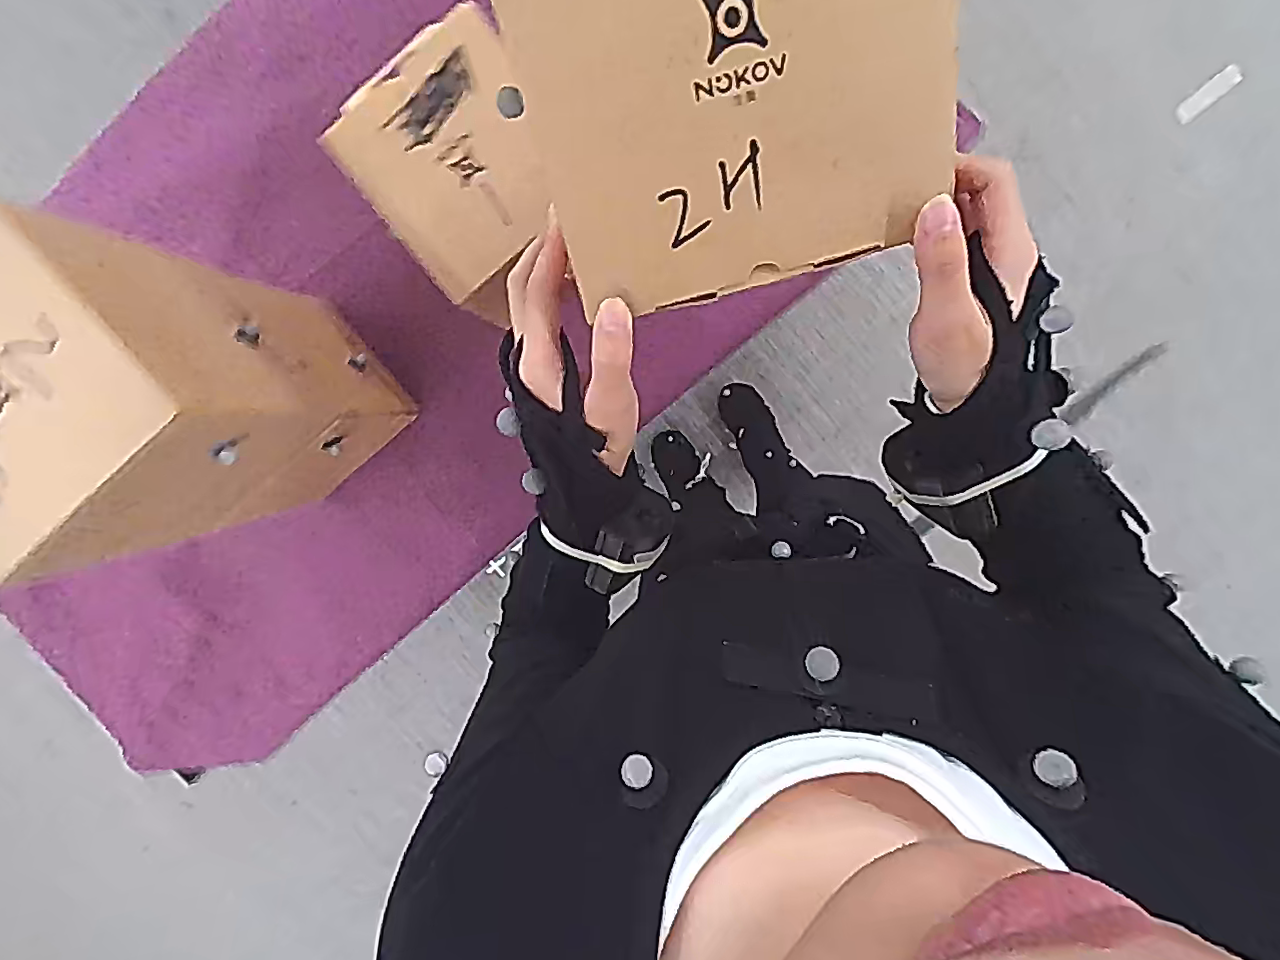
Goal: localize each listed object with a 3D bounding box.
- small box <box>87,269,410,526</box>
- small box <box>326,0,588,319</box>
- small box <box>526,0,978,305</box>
[{"bbox_3d":[-0.382,-0.080,0.564,0.179,0.176,0.168,-40,95,6],"label":"small box"},{"bbox_3d":[-0.145,-0.282,0.526,0.168,0.176,0.179,-38,96,7],"label":"small box"},{"bbox_3d":[0.040,-0.205,0.271,0.168,0.176,0.179,-12,118,5],"label":"small box"}]
